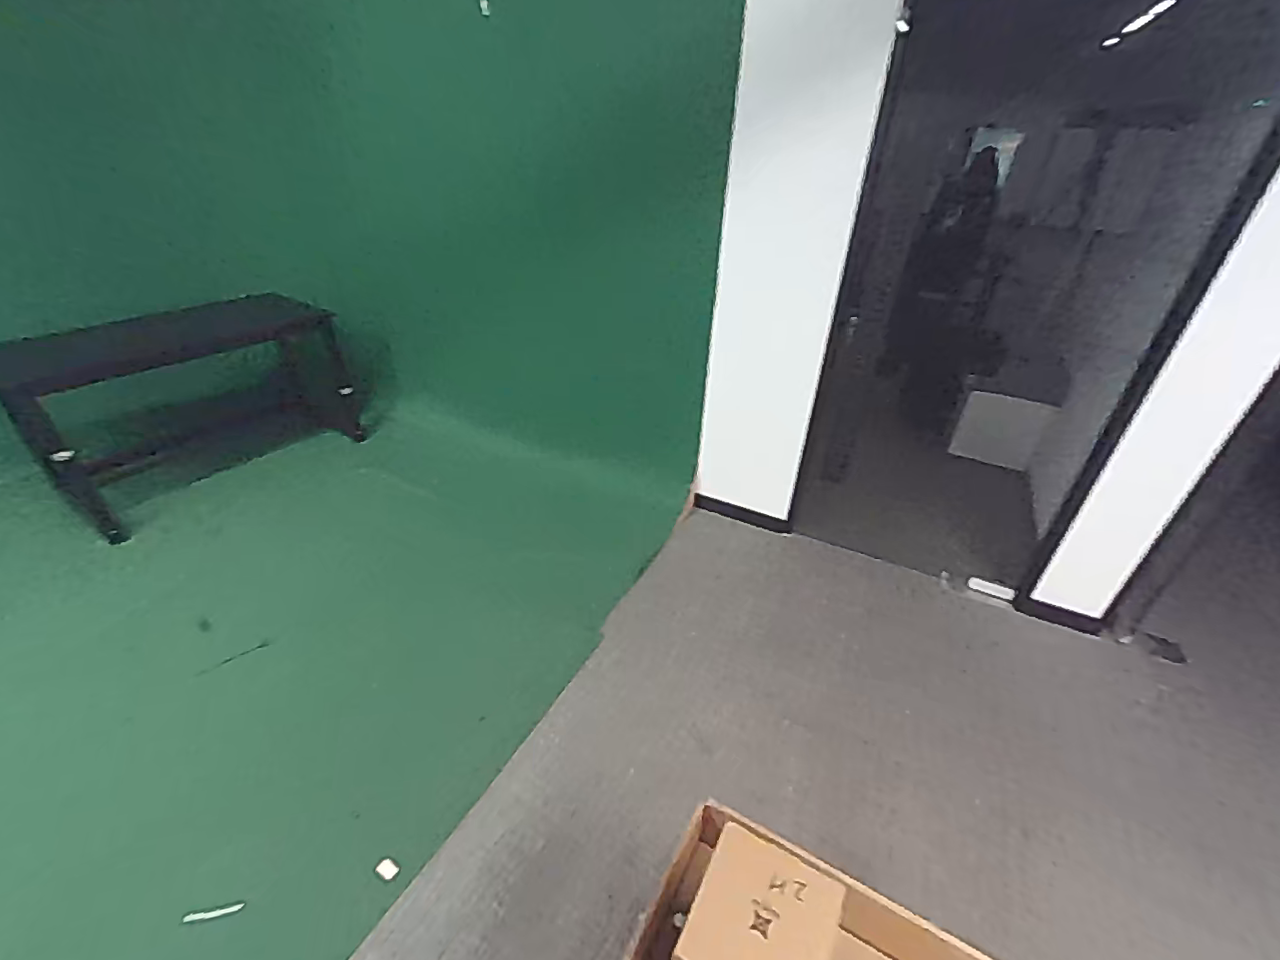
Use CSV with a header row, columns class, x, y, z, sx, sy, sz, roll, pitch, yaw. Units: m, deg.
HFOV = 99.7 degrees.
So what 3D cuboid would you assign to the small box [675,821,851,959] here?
class,x,y,z,sx,sy,sz,roll,pitch,yaw
small box,0.155,0.603,0.700,0.168,0.176,0.179,18,36,25
